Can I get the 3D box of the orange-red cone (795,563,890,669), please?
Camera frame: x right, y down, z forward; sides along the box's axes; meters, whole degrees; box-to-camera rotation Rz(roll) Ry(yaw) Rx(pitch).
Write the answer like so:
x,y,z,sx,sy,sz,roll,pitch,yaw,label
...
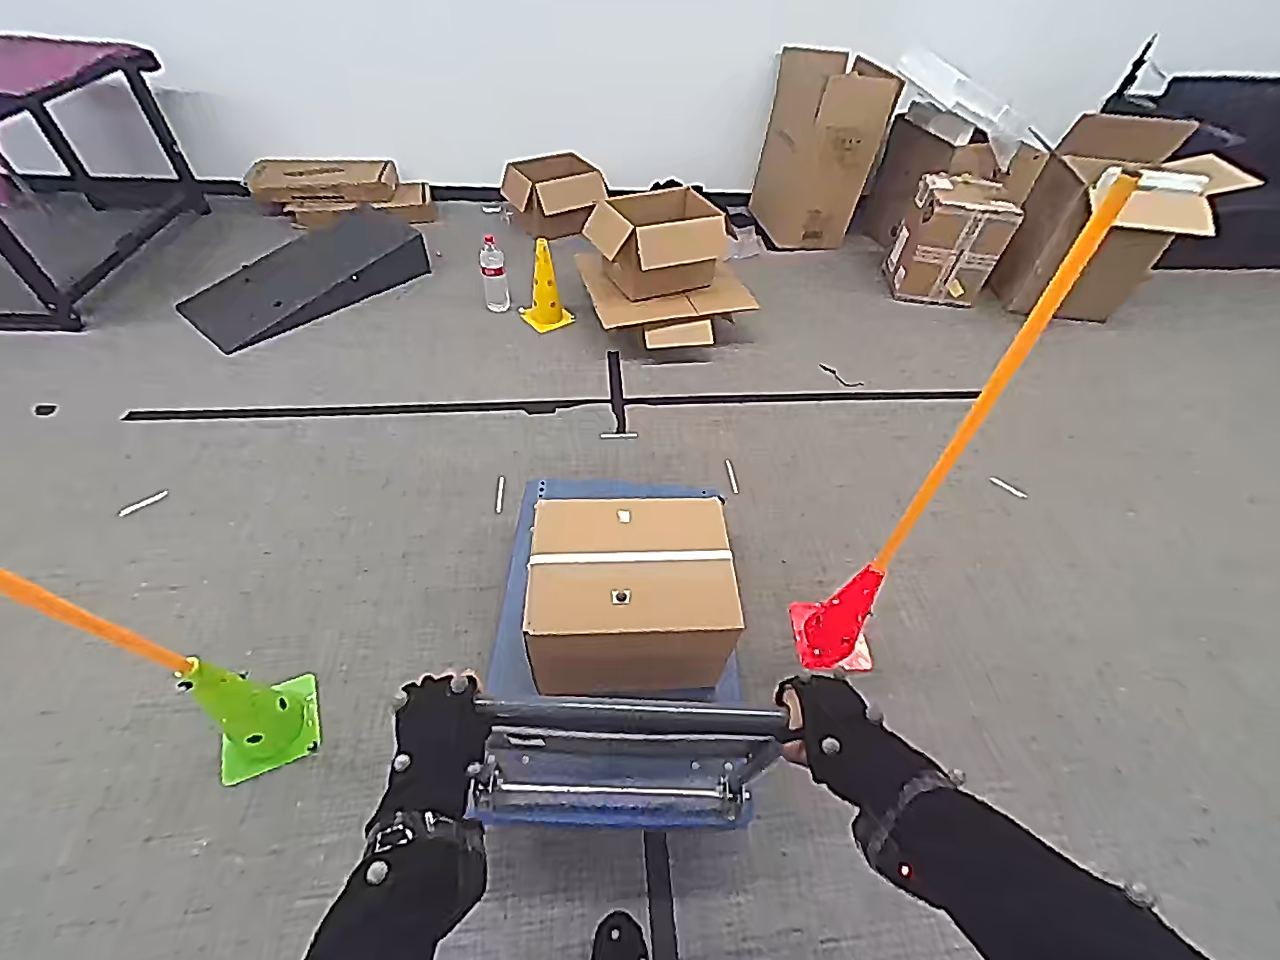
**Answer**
x,y,z,sx,sy,sz,roll,pitch,yaw,label
0.557,0.322,1.395,0.199,0.360,0.198,4,49,-3,orange-red cone
